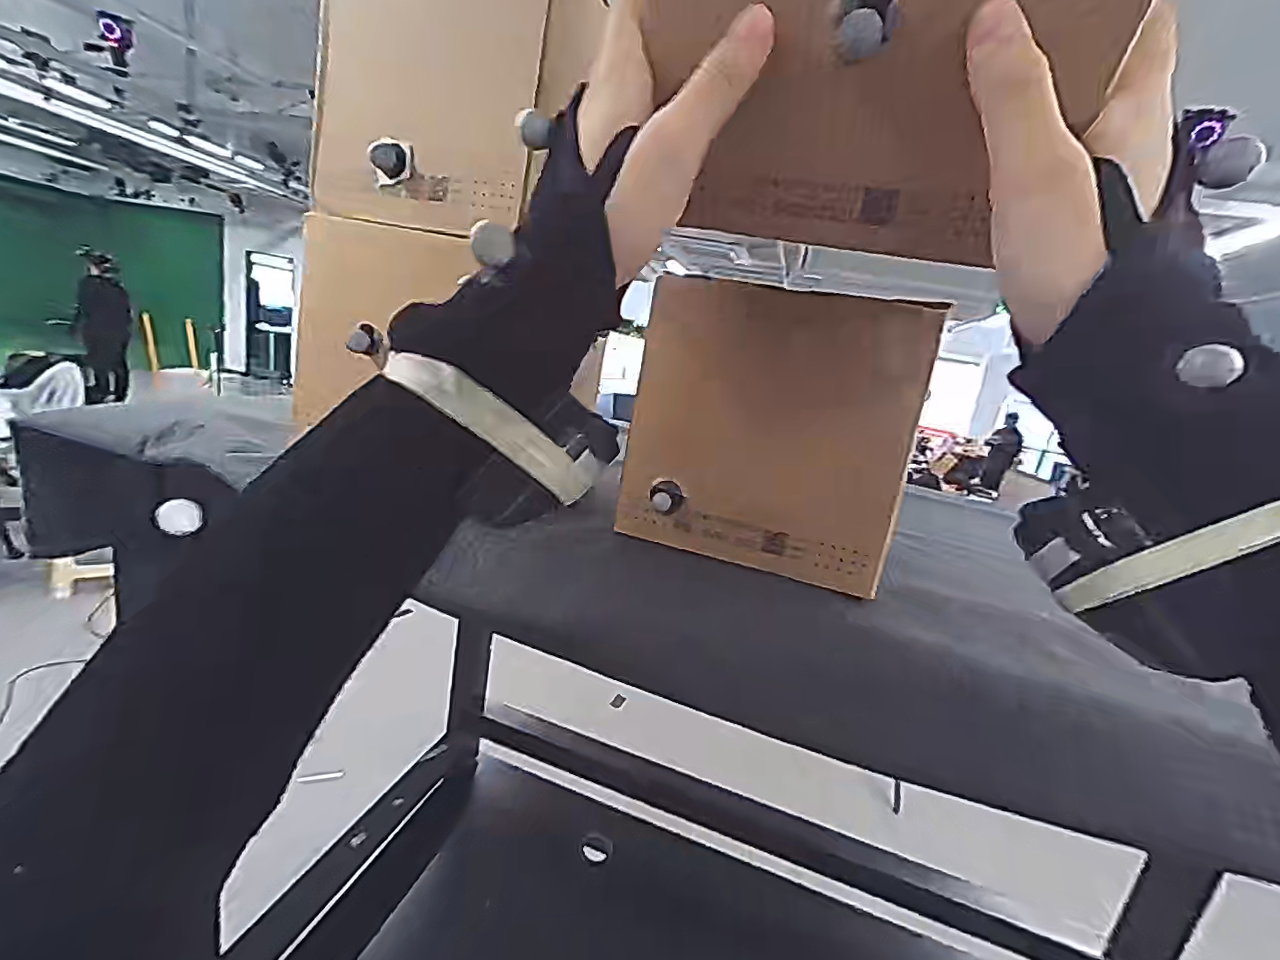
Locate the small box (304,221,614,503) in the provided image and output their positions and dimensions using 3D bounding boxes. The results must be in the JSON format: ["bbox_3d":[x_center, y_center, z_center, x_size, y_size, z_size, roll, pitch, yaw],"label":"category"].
[{"bbox_3d":[-0.136,-0.086,0.435,0.168,0.176,0.179,15,11,14],"label":"small box"}]

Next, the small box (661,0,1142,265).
[{"bbox_3d":[0.113,-0.218,0.245,0.168,0.176,0.179,15,48,15],"label":"small box"}]

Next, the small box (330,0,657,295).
[{"bbox_3d":[-0.101,-0.242,0.404,0.168,0.176,0.179,13,11,16],"label":"small box"}]

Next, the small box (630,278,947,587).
[{"bbox_3d":[0.100,-0.036,0.399,0.168,0.176,0.179,14,10,16],"label":"small box"}]
